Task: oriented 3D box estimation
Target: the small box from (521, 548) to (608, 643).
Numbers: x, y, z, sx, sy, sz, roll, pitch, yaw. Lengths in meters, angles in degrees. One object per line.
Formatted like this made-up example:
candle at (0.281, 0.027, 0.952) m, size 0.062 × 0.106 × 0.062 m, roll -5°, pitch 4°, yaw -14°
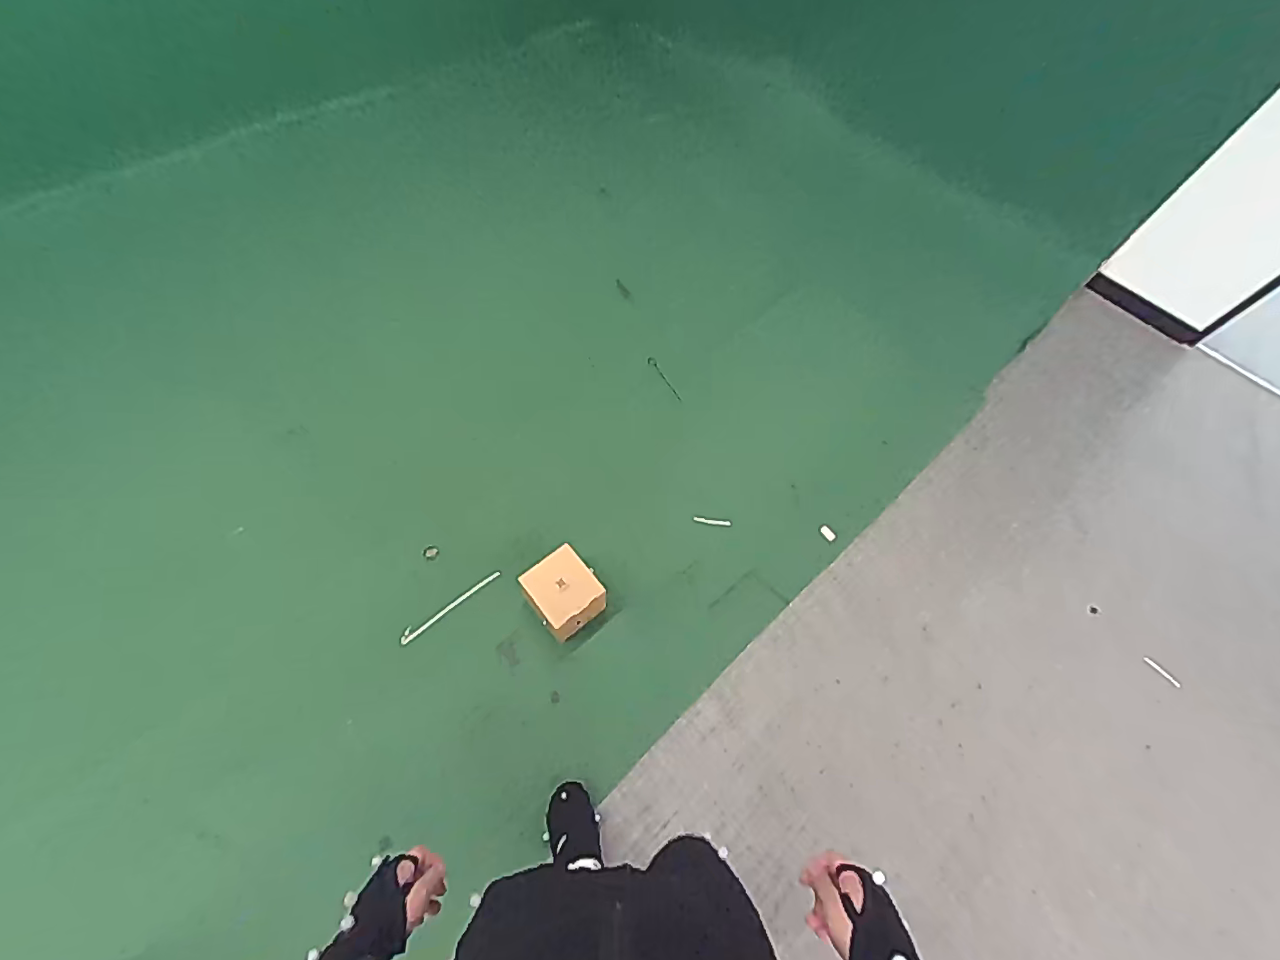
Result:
small box at (-0.208, 0.324, 1.495) m, size 0.168 × 0.176 × 0.179 m, roll -36°, pitch 71°, yaw -21°
